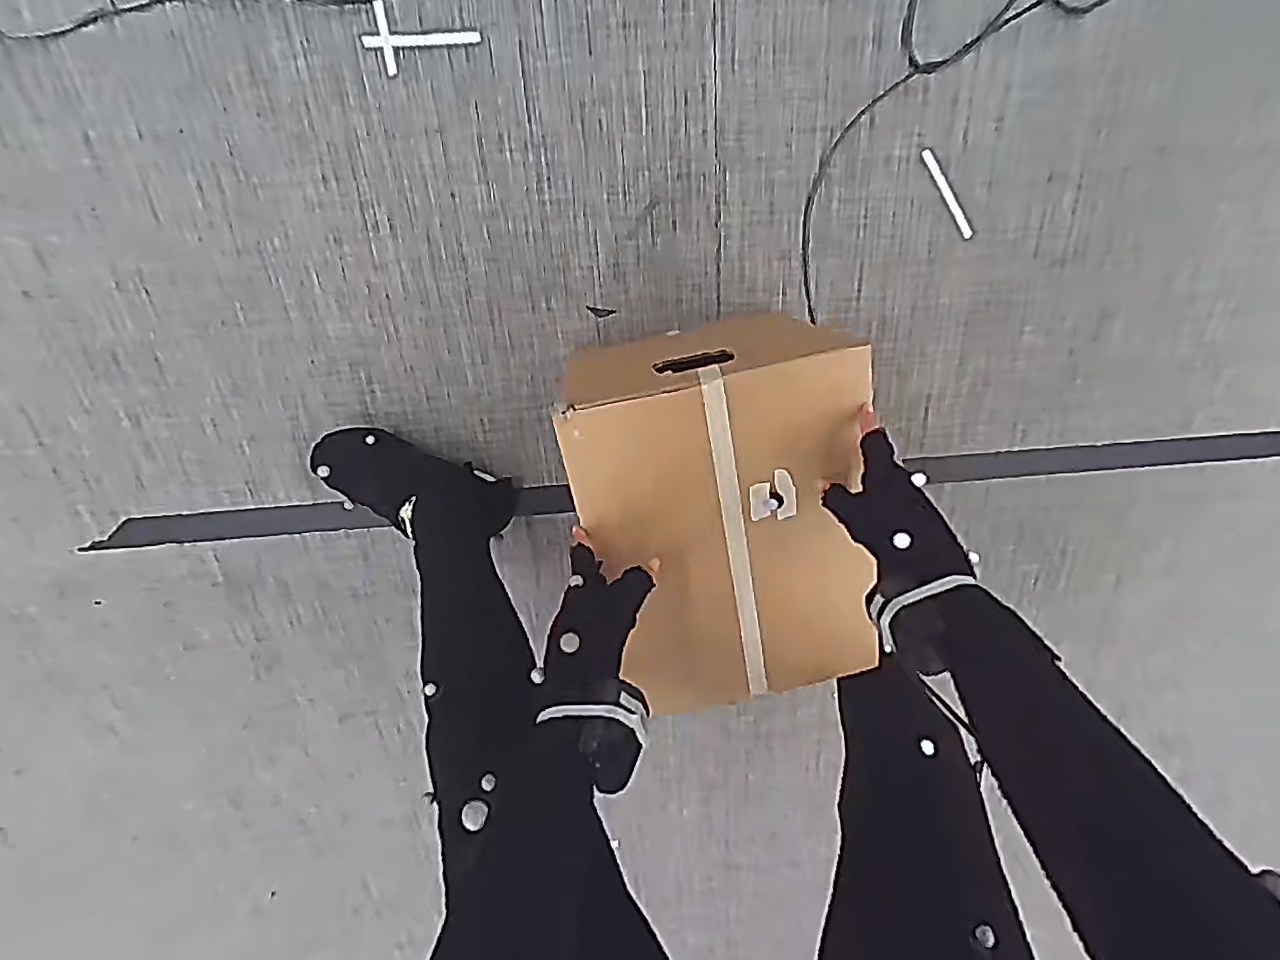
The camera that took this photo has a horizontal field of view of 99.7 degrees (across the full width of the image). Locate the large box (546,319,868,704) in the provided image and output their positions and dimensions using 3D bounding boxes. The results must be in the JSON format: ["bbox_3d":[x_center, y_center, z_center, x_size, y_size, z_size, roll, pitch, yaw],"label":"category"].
[{"bbox_3d":[0.088,0.023,0.743,0.320,0.320,0.408,-12,112,1],"label":"large box"}]
